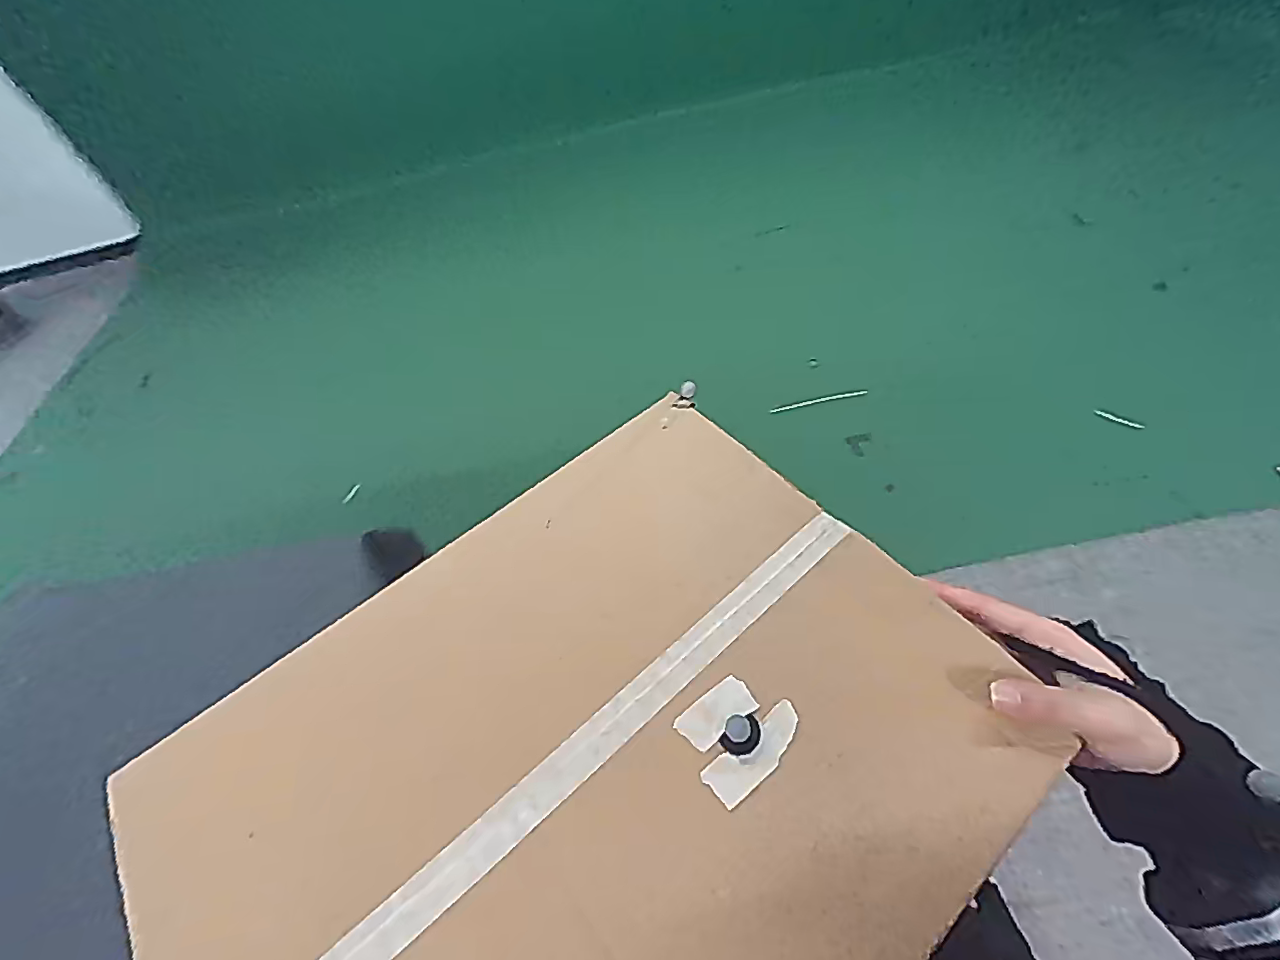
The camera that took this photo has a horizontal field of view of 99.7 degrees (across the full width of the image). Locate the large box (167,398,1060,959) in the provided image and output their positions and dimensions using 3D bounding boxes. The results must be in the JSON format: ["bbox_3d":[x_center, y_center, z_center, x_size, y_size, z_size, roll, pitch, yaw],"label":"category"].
[{"bbox_3d":[-0.012,0.220,0.416,0.408,0.320,0.320,-35,61,-19],"label":"large box"}]
